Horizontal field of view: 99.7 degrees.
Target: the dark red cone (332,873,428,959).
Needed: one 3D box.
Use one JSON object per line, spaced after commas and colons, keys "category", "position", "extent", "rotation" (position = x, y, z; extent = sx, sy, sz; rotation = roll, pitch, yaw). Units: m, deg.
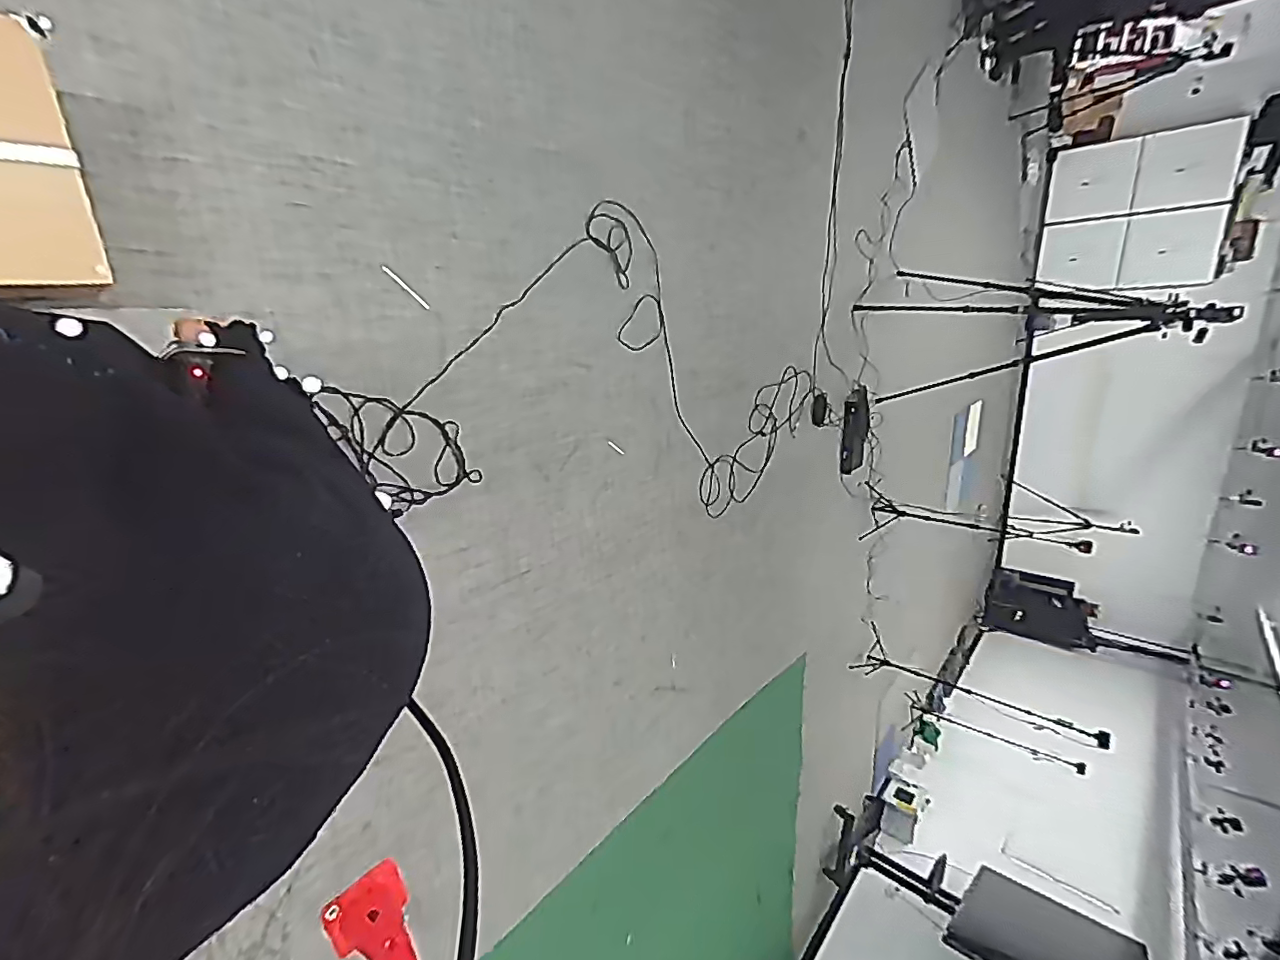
{"category": "dark red cone", "position": [-0.597, 1.235, 1.371], "extent": [0.202, 0.394, 0.201], "rotation": [-27, 120, -41]}
